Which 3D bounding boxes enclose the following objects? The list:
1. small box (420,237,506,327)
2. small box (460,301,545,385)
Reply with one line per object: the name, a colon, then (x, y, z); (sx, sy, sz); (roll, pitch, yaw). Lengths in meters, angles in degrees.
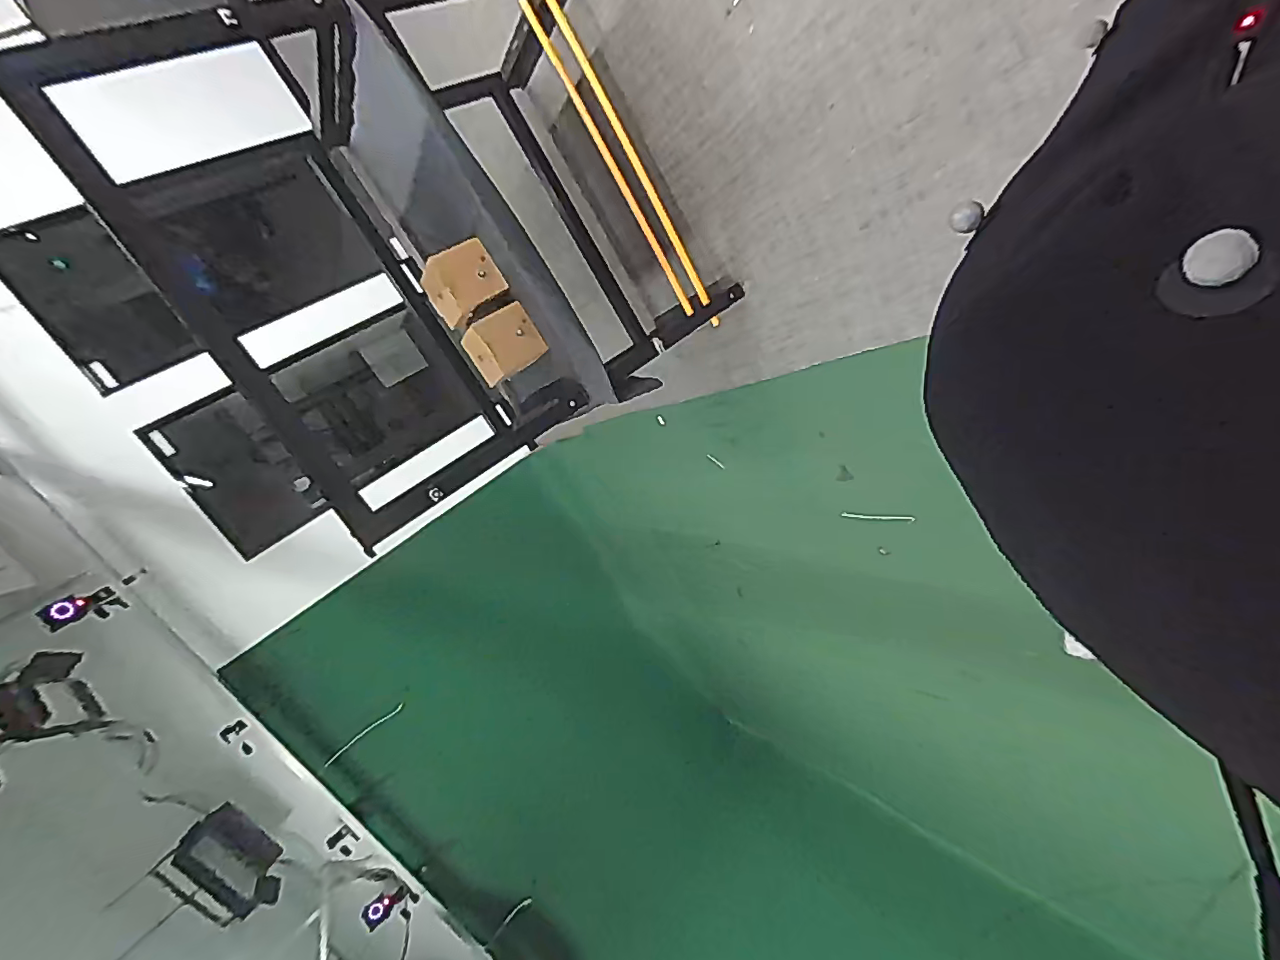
small box: (-0.522, -0.585, 1.603); (0.168, 0.176, 0.179); (57, 154, -13)
small box: (-0.416, -0.416, 1.645); (0.168, 0.176, 0.179); (57, 154, -13)
